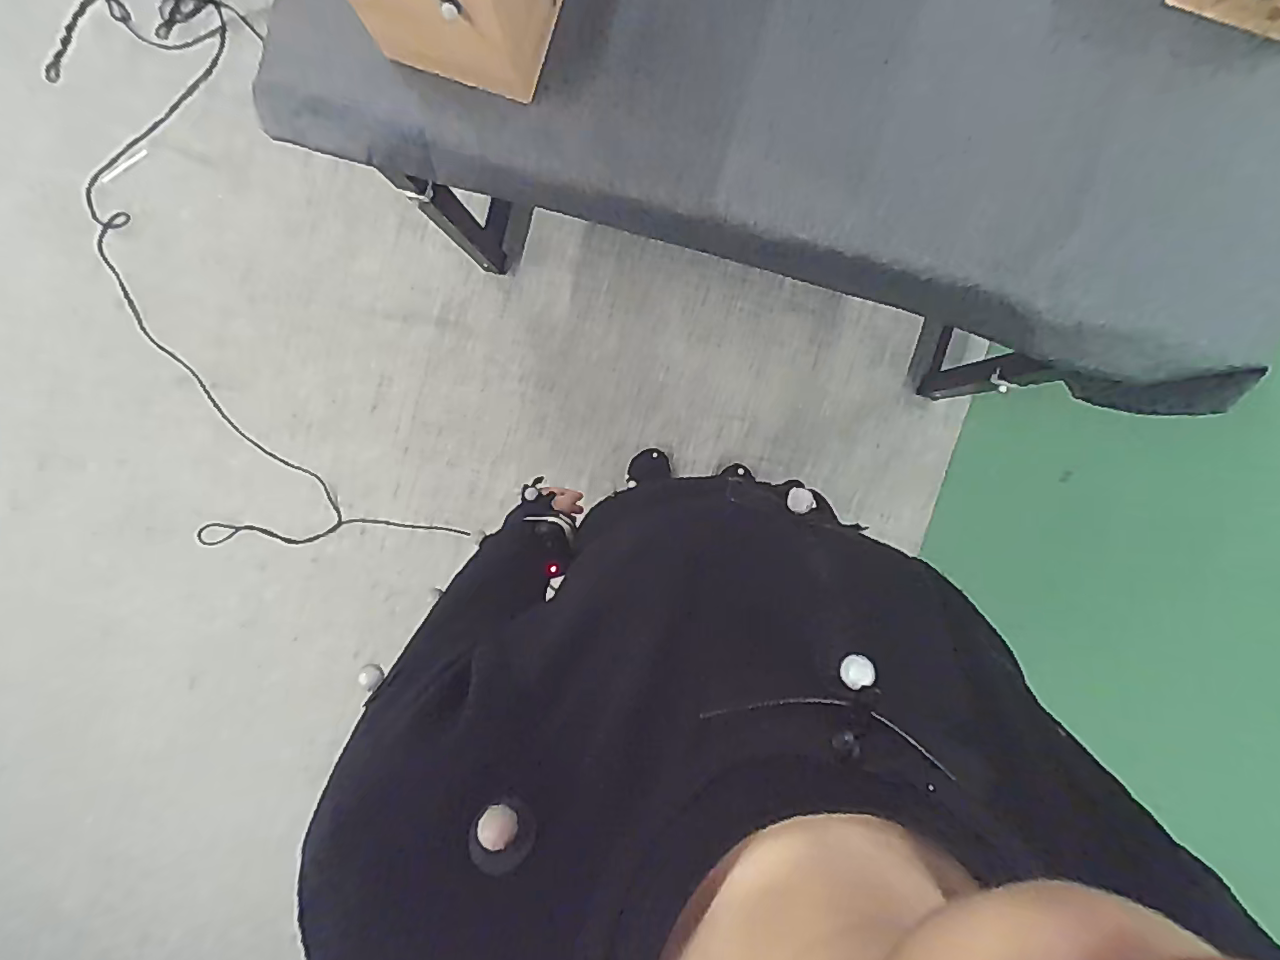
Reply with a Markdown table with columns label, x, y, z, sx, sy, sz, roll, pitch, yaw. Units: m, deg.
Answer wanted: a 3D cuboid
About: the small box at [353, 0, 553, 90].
| label | x | y | z | sx | sy | sz | roll | pitch | yaw |
| --- | --- | --- | --- | --- | --- | --- | --- | --- | --- |
| small box | -0.184 | -0.530 | 0.528 | 0.179 | 0.176 | 0.168 | 18 | 93 | 0 |
